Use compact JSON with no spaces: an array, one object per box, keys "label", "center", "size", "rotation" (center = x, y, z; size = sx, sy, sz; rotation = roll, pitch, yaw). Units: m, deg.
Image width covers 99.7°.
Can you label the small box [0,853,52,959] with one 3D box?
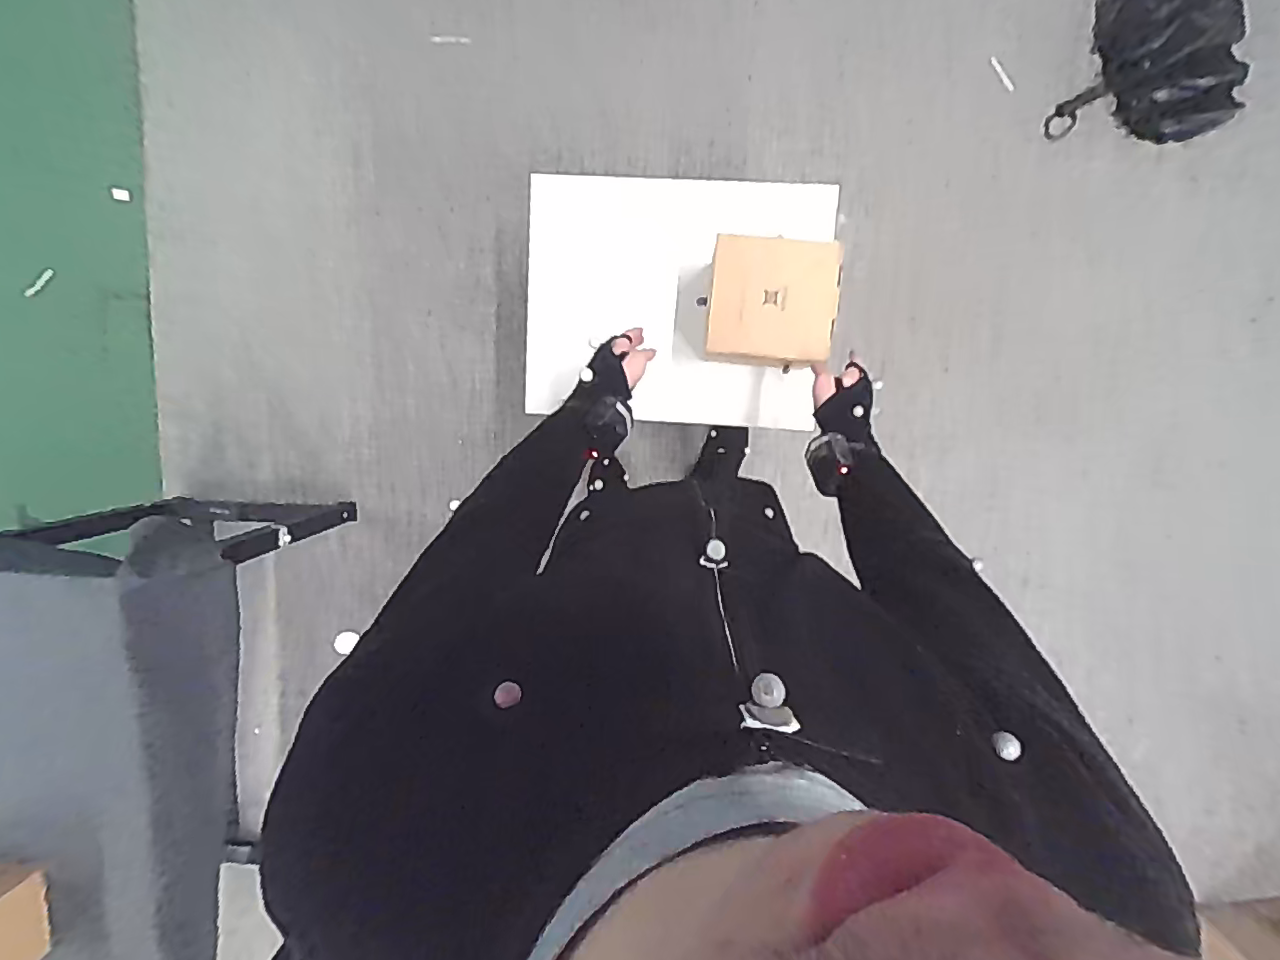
[{"label":"small box","center":[-1.189,0.793,0.939],"size":[0.168,0.176,0.179],"rotation":[3,98,3]}]

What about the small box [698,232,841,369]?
[{"label":"small box","center":[0.186,-0.263,0.827],"size":[0.179,0.176,0.168],"rotation":[5,98,4]}]
